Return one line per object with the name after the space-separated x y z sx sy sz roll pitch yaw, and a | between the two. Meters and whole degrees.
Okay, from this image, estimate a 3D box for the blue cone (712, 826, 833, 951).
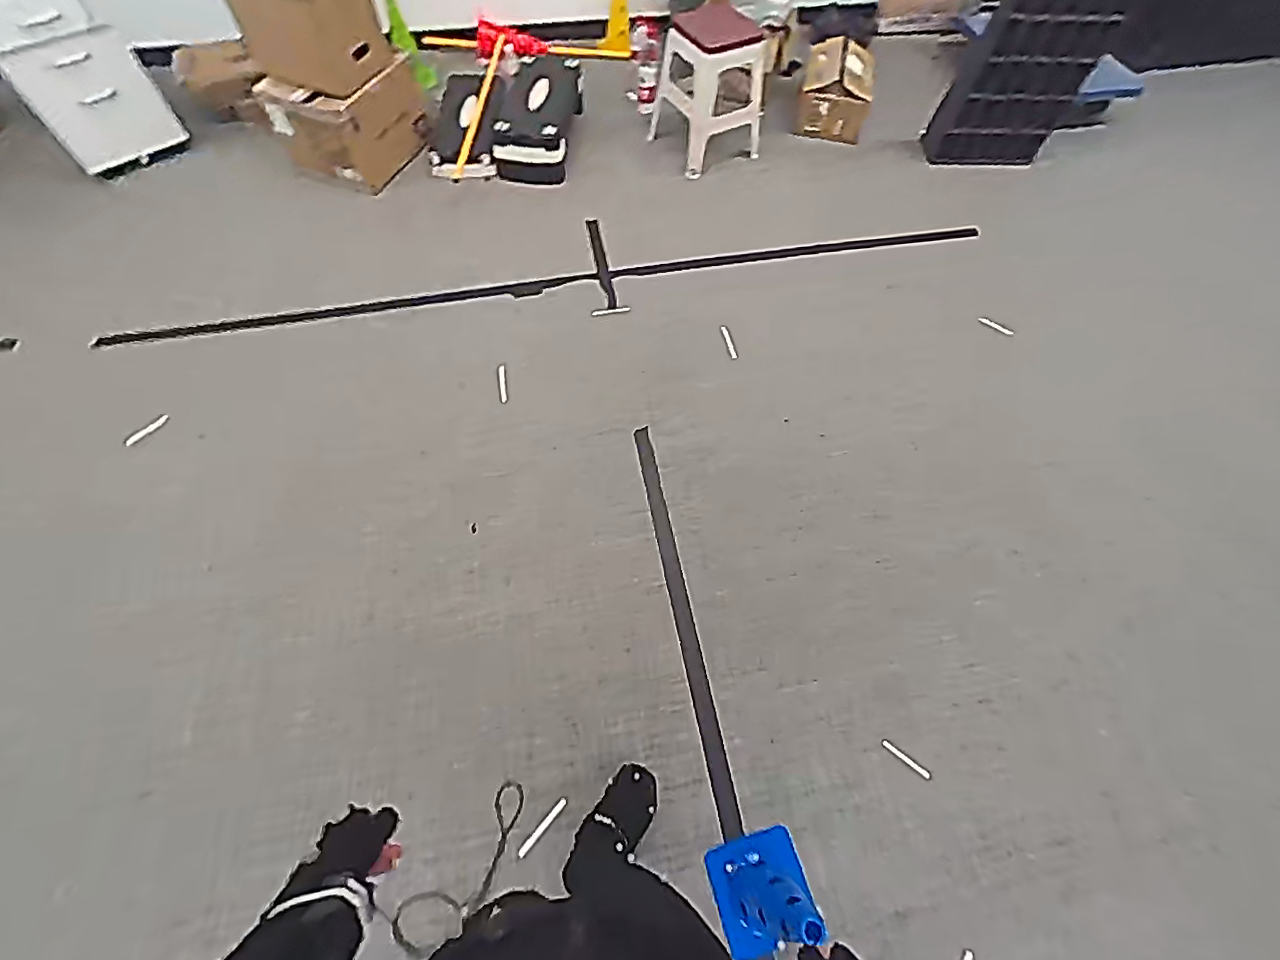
0.268 0.786 1.008 0.192 0.380 0.193 -12 62 -10 | blue cone
